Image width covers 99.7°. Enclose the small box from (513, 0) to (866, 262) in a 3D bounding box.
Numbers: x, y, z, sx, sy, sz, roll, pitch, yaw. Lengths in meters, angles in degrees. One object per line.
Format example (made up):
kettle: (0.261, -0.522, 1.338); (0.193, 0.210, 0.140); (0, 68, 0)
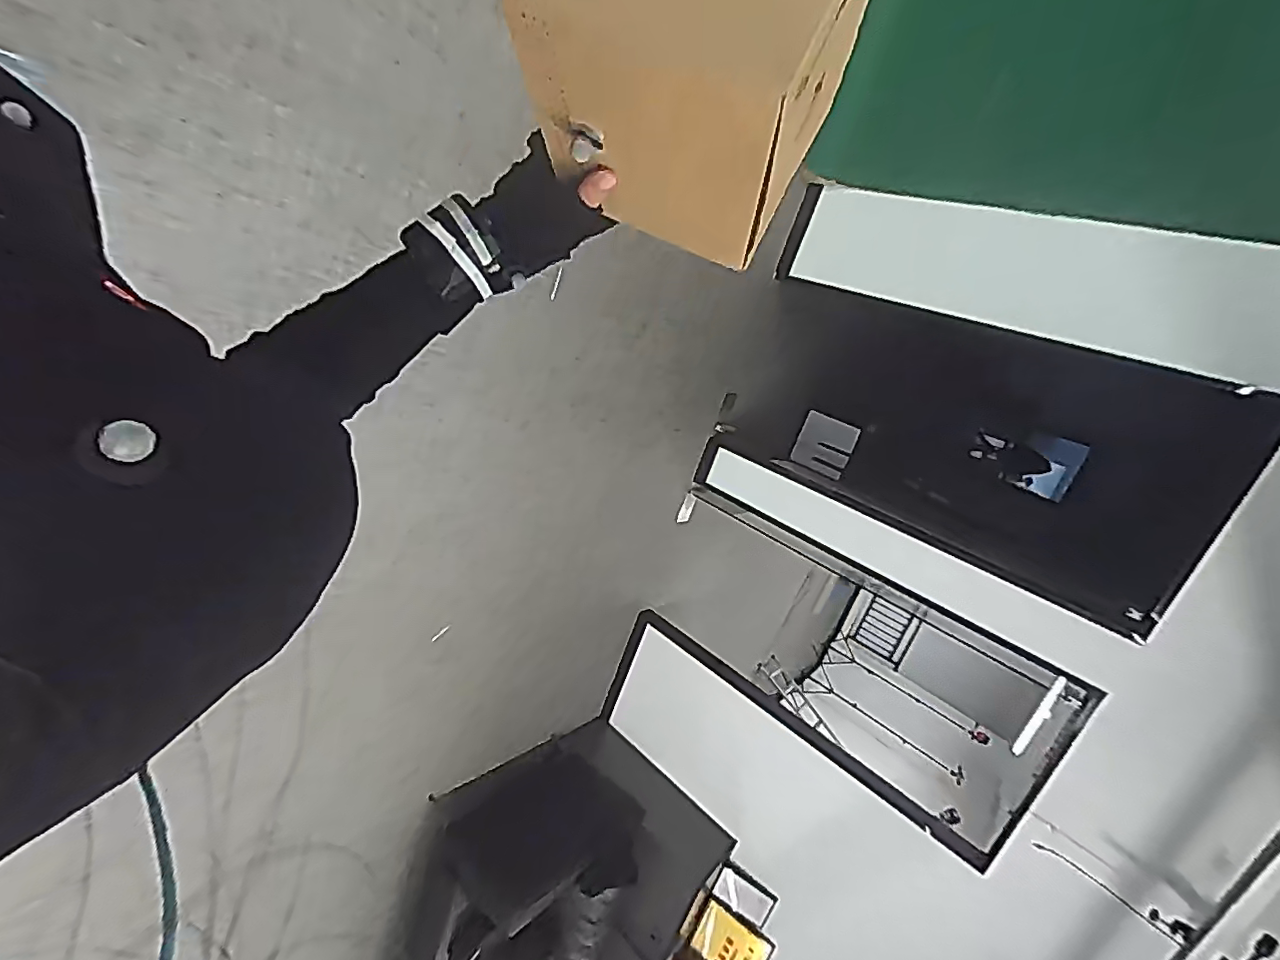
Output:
small box: (0.039, -0.288, 0.360); (0.179, 0.176, 0.168); (66, 49, -83)
